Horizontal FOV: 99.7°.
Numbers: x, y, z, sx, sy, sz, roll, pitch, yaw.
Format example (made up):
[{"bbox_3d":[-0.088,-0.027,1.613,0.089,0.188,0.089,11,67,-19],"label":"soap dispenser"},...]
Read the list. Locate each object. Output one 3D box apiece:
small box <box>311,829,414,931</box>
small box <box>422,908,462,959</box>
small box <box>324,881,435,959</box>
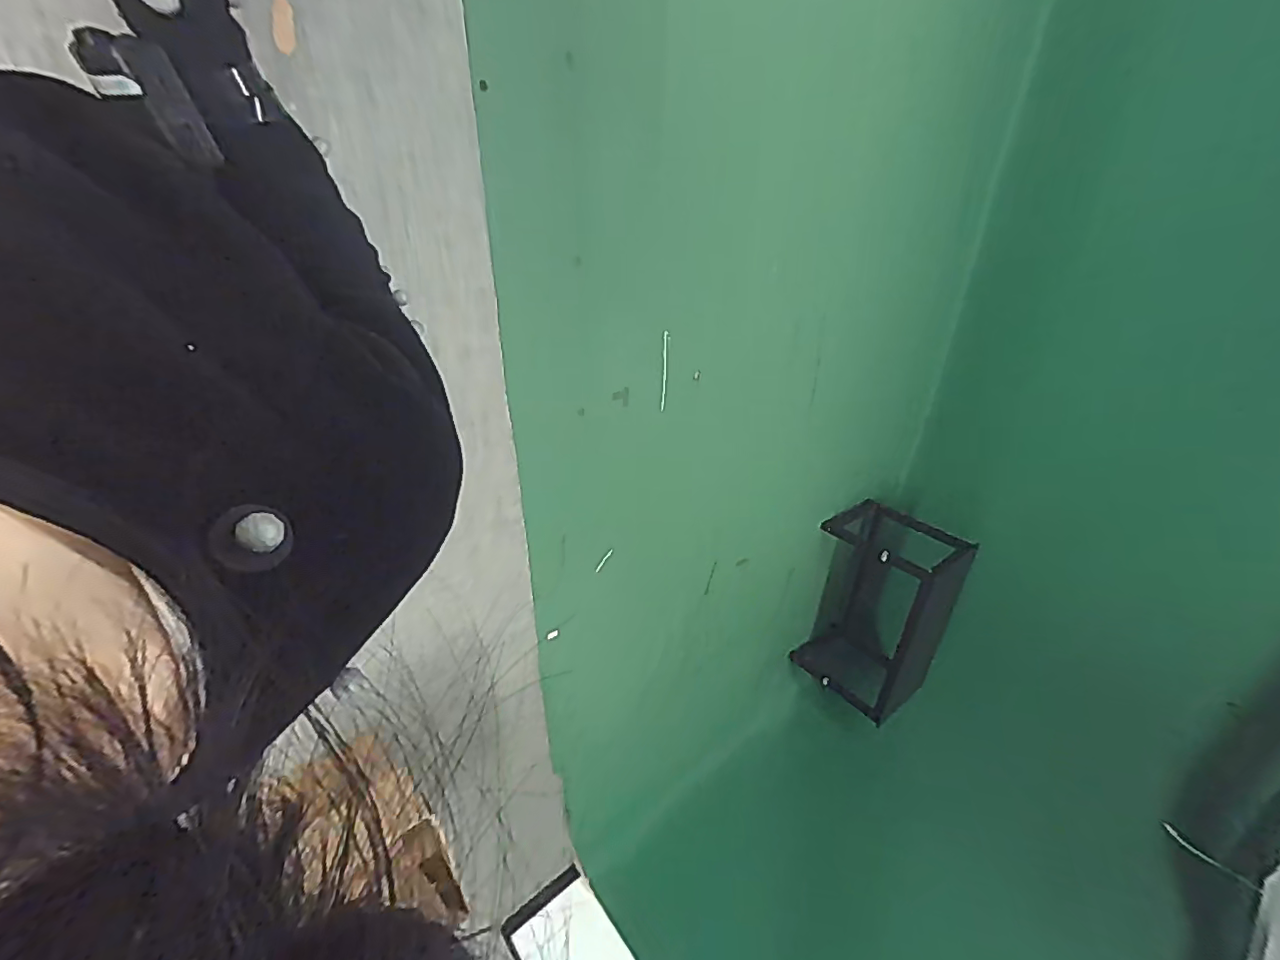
[{"bbox_3d":[-0.747,1.083,1.450,0.168,0.176,0.179,-34,133,-24],"label":"small box"},{"bbox_3d":[-0.600,1.358,1.500,0.179,0.176,0.168,-28,129,-31],"label":"small box"},{"bbox_3d":[-0.645,1.145,1.337,0.168,0.176,0.179,-34,133,-23],"label":"small box"}]
